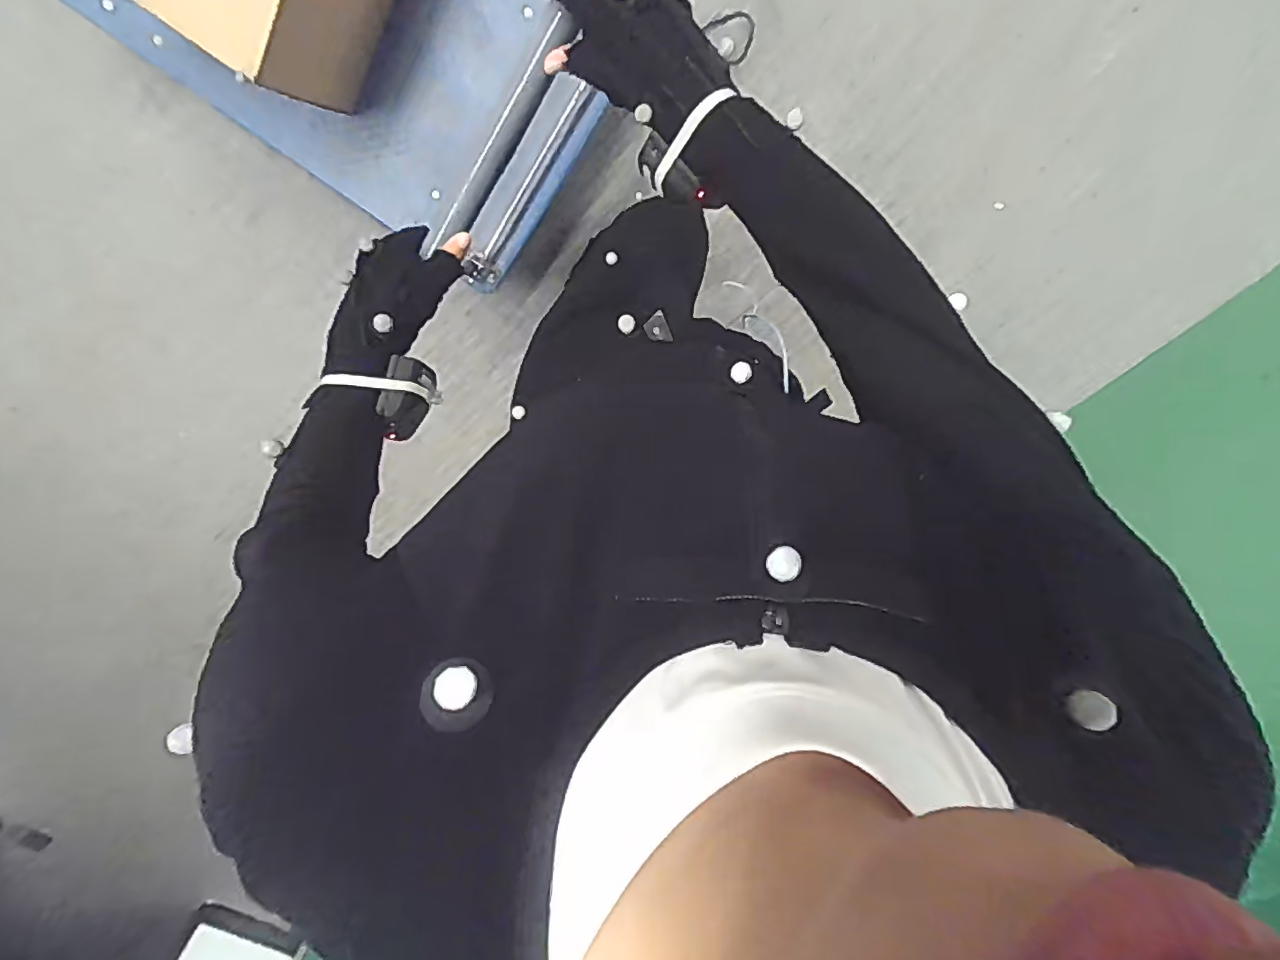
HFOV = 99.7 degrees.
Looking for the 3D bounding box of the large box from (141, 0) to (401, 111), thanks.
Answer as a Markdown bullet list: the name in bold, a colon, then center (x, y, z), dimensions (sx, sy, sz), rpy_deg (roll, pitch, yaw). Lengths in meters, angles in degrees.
- **large box**: center (-0.537, -0.841, 0.772), dimensions (0.320, 0.320, 0.408), rpy_deg (31, 113, -15)
